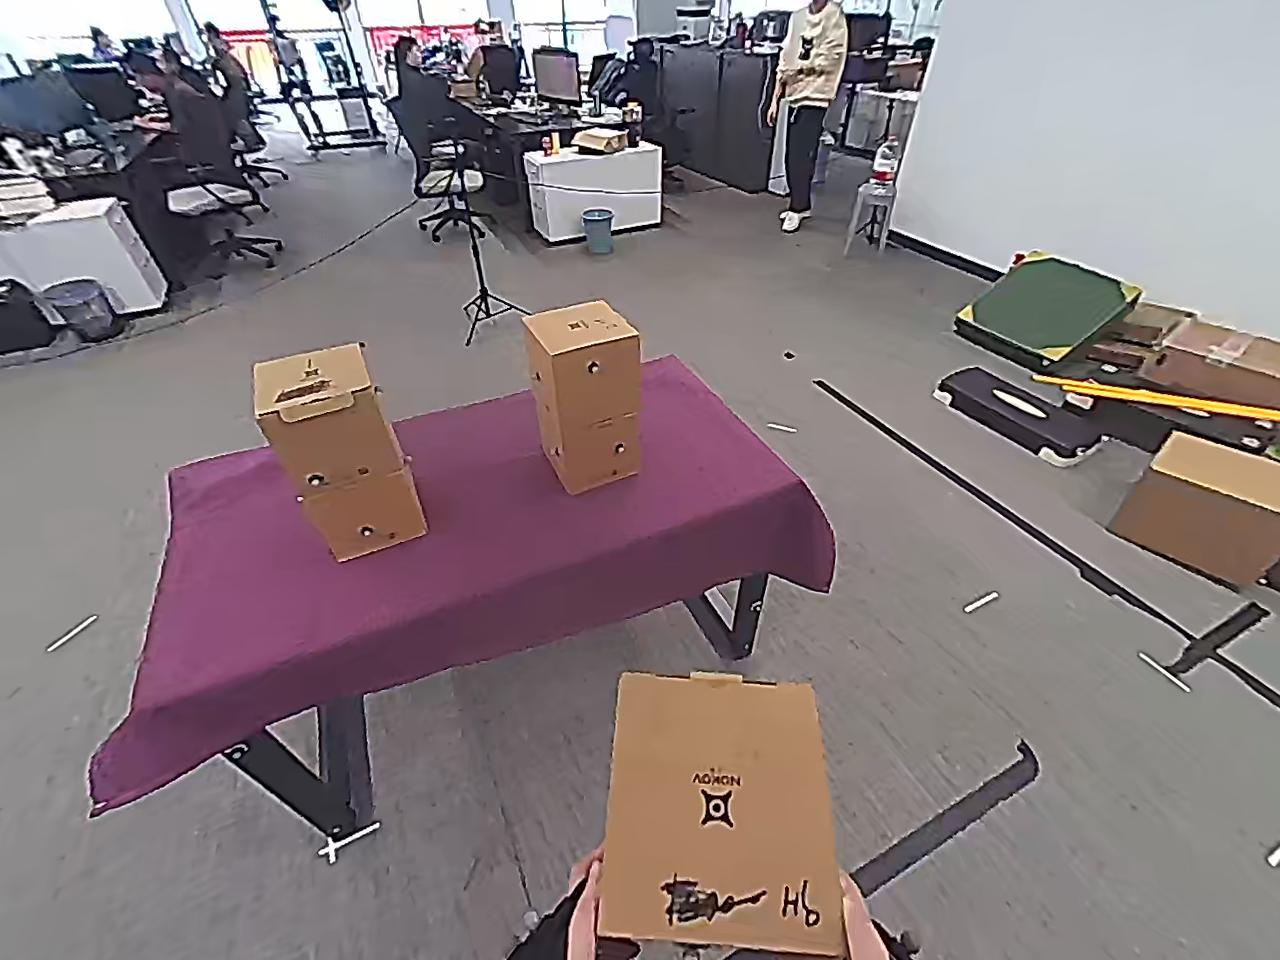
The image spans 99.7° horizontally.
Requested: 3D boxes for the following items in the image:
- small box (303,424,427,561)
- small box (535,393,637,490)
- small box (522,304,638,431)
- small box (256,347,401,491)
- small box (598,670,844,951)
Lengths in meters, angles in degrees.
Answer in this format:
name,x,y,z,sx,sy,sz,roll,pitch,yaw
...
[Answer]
name,x,y,z,sx,sy,sz,roll,pitch,yaw
small box,-0.526,0.022,1.037,0.168,0.176,0.179,-19,46,-20
small box,-0.111,-0.097,1.163,0.168,0.176,0.179,-18,44,-19
small box,-0.112,-0.218,1.052,0.179,0.176,0.168,-19,46,-20
small box,-0.528,-0.100,0.928,0.168,0.176,0.179,-20,45,-21
small box,0.059,0.286,0.470,0.168,0.176,0.179,2,50,3
